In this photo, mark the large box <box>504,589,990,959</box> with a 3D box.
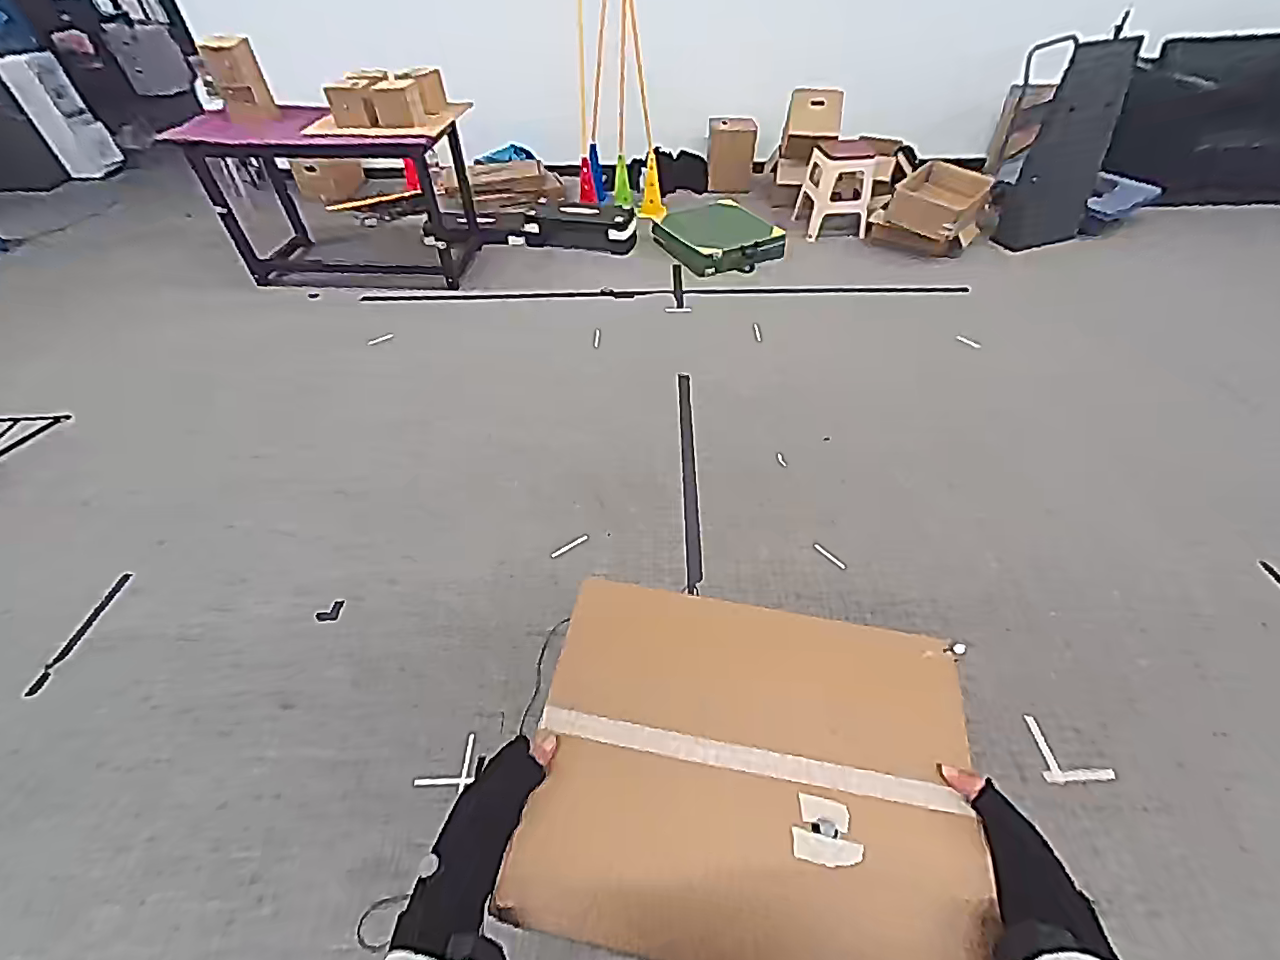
[{"bbox_3d":[0.101,0.363,0.637,0.408,0.320,0.320,9,52,6],"label":"large box"}]
